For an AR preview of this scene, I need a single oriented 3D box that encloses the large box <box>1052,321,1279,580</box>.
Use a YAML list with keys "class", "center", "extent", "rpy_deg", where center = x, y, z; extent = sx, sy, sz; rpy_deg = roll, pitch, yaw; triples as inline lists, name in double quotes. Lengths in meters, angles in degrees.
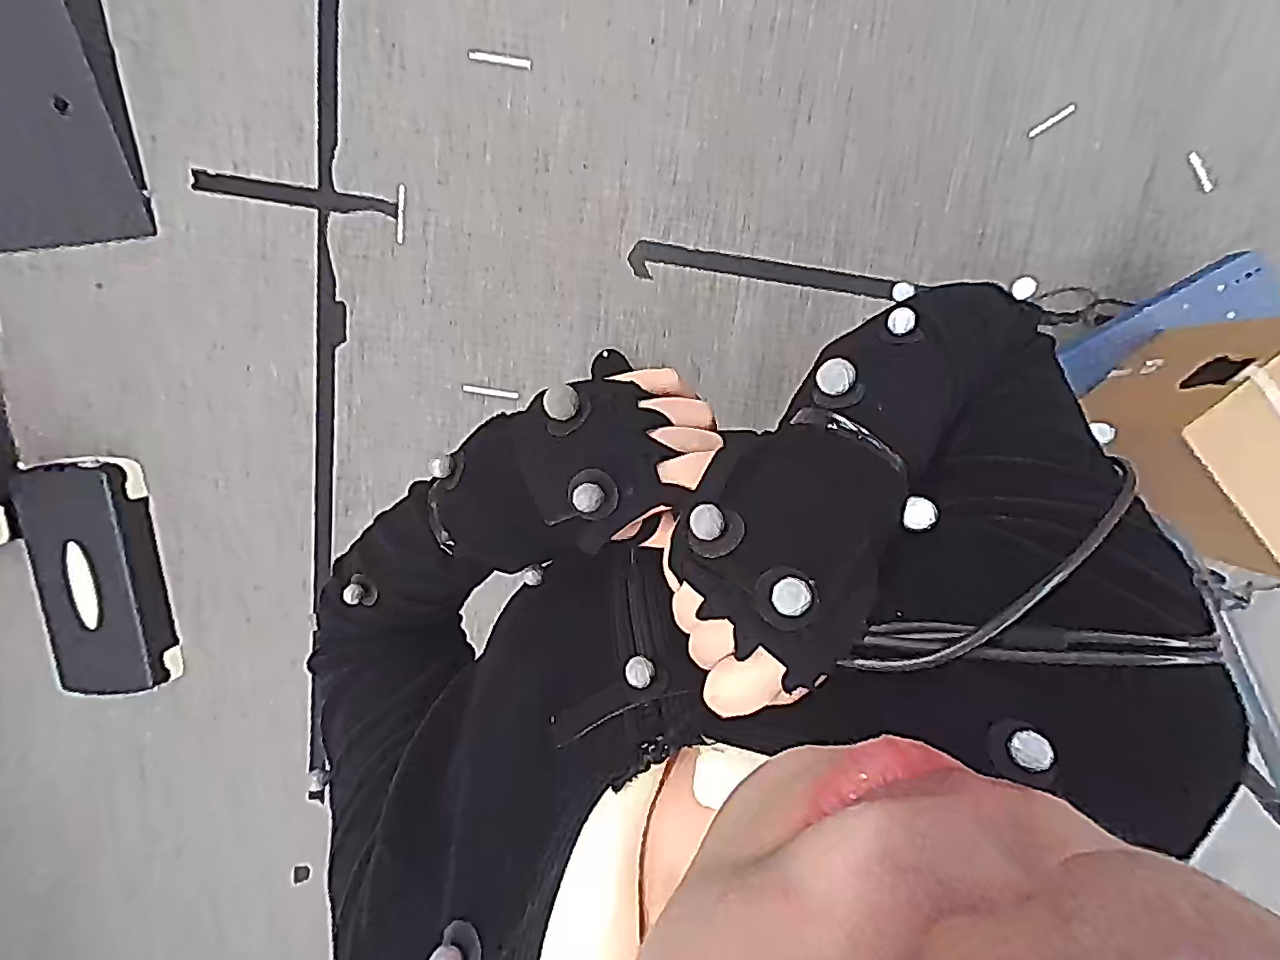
- class: "large box"
  center: [1.207, -0.070, 1.133]
  extent: [0.320, 0.320, 0.408]
  rpy_deg: [-42, 98, 7]
